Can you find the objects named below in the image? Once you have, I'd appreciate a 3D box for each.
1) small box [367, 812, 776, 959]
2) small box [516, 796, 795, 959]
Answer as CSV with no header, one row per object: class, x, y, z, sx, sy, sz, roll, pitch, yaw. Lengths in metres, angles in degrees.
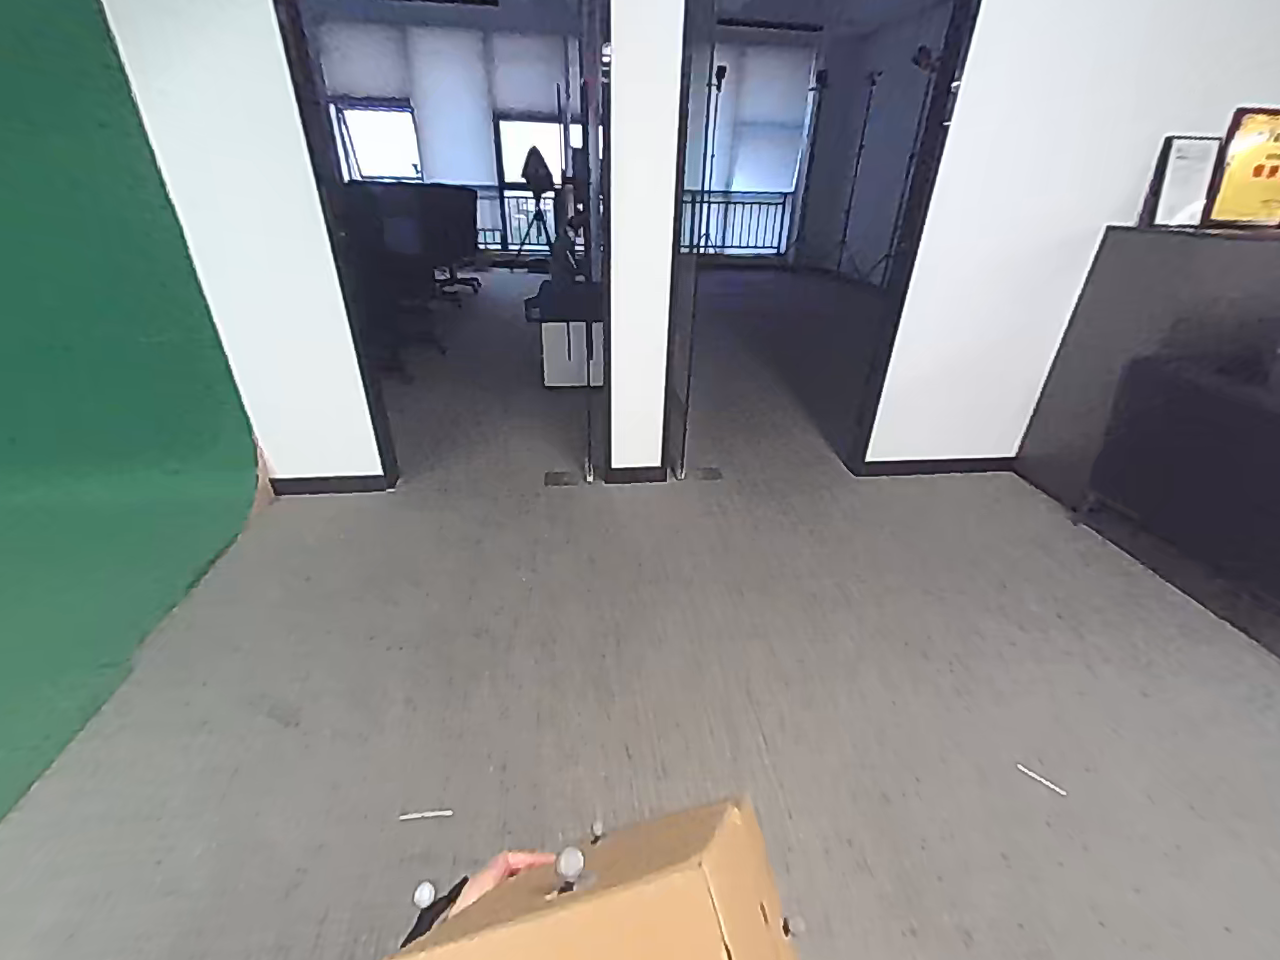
small box,-0.013,0.301,0.288,0.179,0.176,0.168,-21,64,4
small box,0.023,0.370,0.431,0.179,0.176,0.168,-18,64,6
